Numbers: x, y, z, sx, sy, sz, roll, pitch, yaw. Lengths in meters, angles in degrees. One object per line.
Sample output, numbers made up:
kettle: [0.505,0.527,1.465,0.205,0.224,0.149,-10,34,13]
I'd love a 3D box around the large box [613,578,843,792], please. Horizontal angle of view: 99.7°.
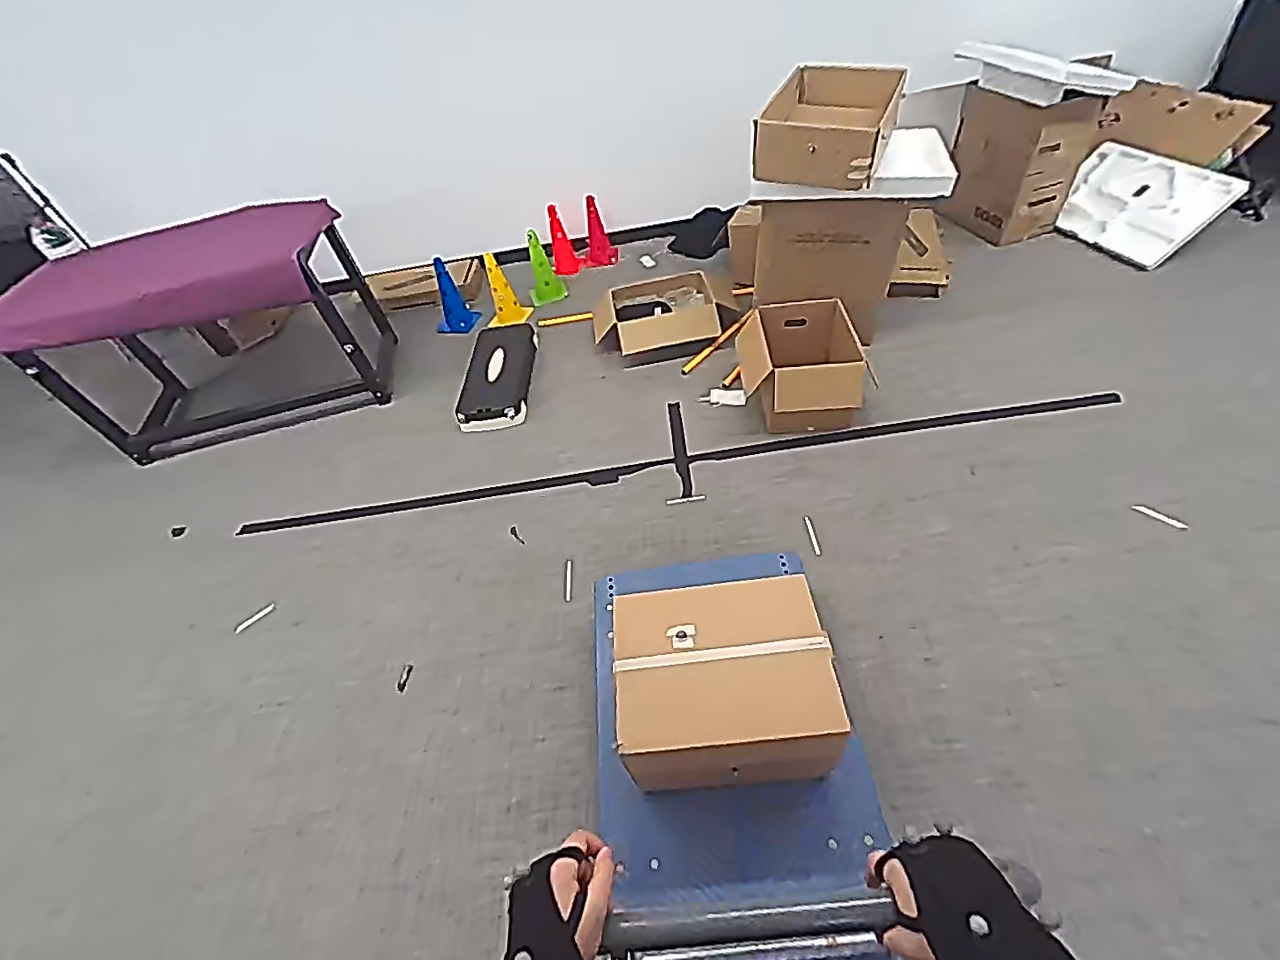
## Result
large box: [0.173,0.447,1.159,0.408,0.320,0.320,-9,47,4]
